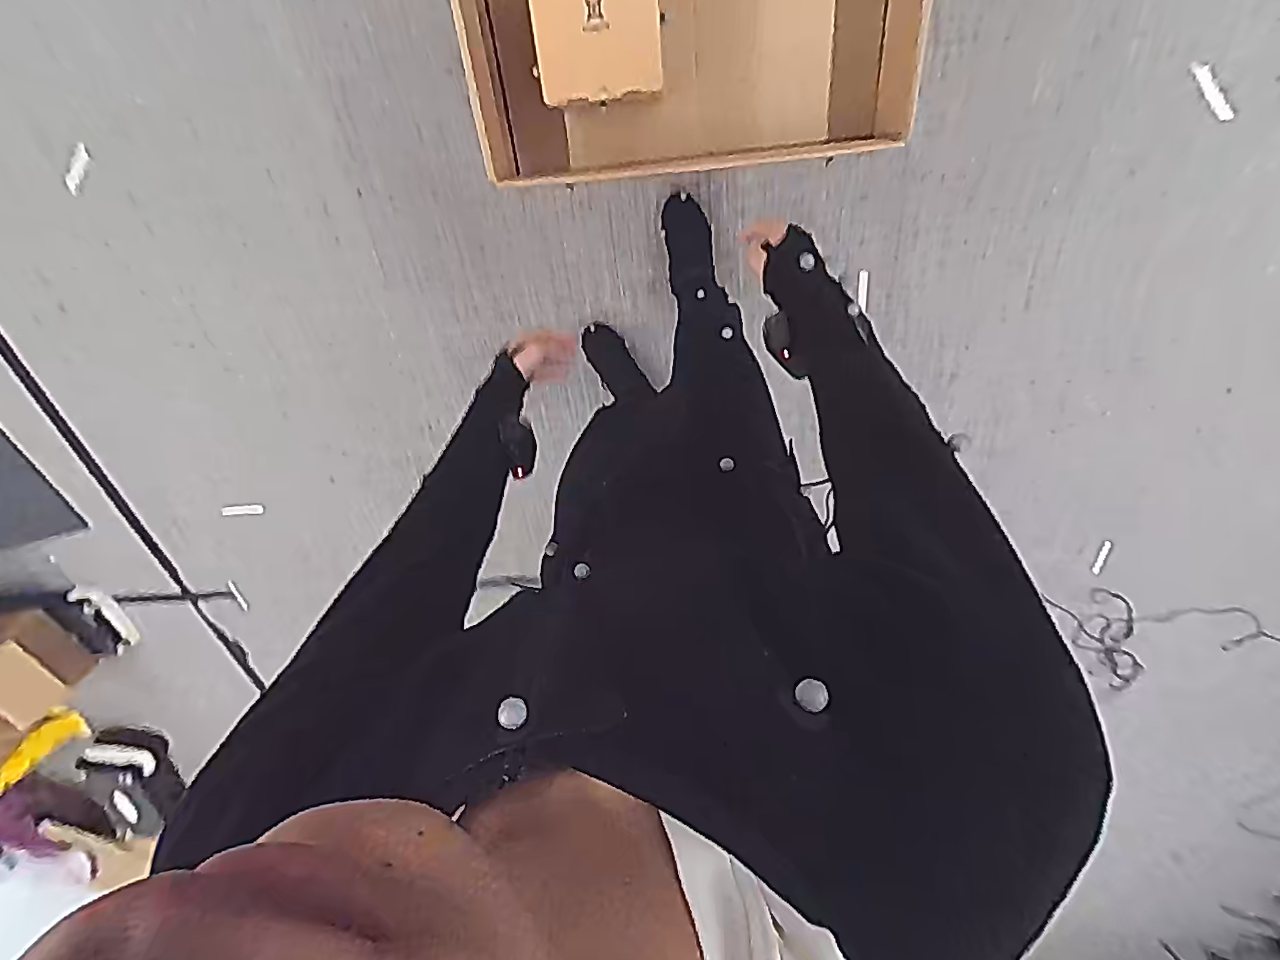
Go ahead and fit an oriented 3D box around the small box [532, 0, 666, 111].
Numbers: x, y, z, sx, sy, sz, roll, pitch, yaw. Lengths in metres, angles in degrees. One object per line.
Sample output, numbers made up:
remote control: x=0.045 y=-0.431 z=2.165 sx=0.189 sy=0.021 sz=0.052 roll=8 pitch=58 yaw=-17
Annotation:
small box: x=-0.052 y=-0.635 z=0.758 sx=0.168 sy=0.176 sz=0.179 roll=-4 pitch=122 yaw=5
